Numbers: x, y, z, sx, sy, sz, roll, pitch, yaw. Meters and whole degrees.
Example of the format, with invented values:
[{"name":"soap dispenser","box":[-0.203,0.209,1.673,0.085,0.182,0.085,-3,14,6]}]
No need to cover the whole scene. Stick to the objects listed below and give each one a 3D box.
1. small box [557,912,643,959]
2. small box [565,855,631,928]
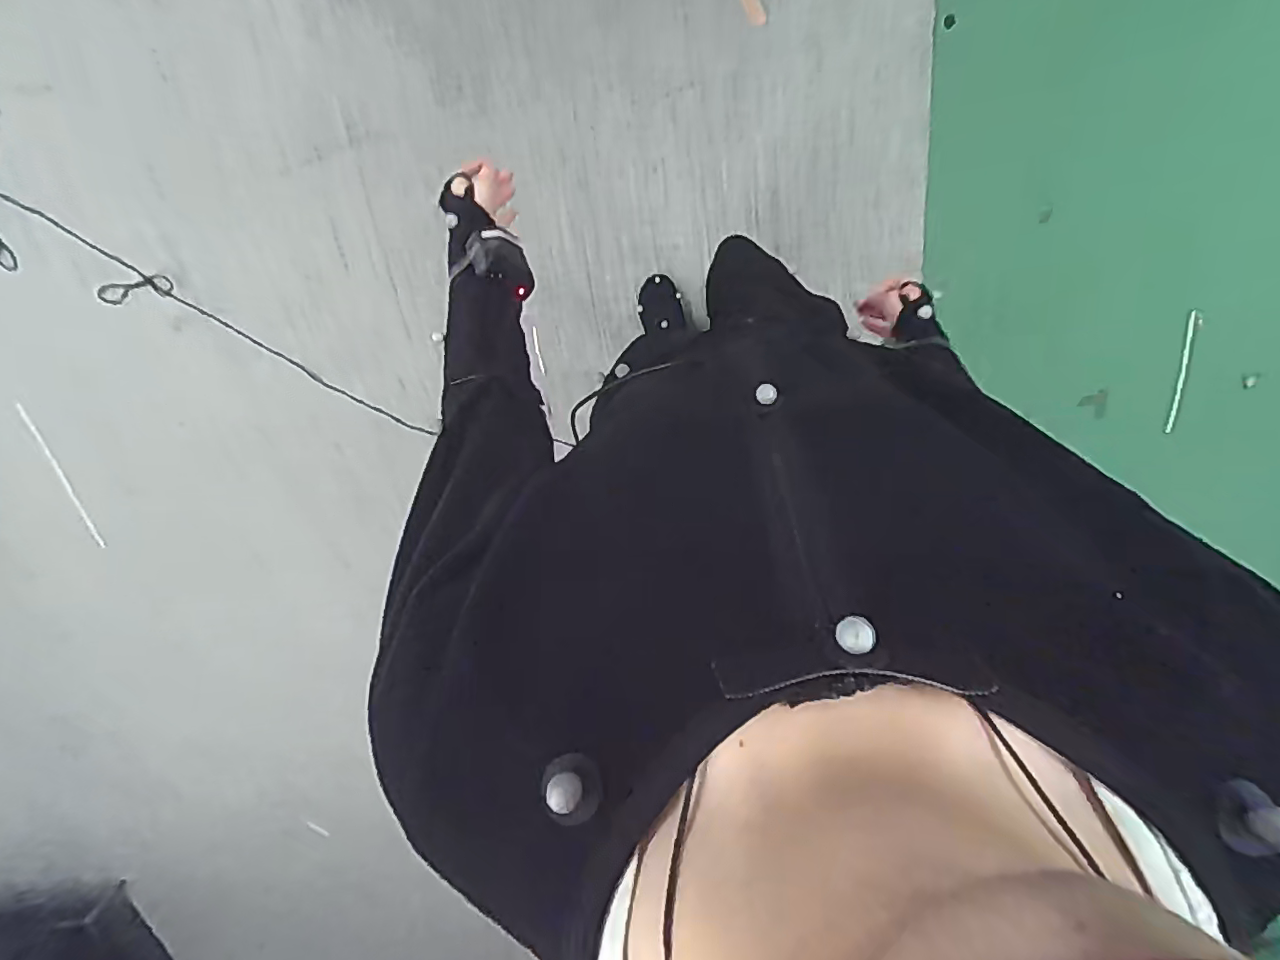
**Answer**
[{"name":"small box","box":[-0.095,1.168,1.273,0.179,0.176,0.168,-14,110,6]},{"name":"small box","box":[-0.110,1.135,1.437,0.168,0.176,0.179,3,110,0]}]
